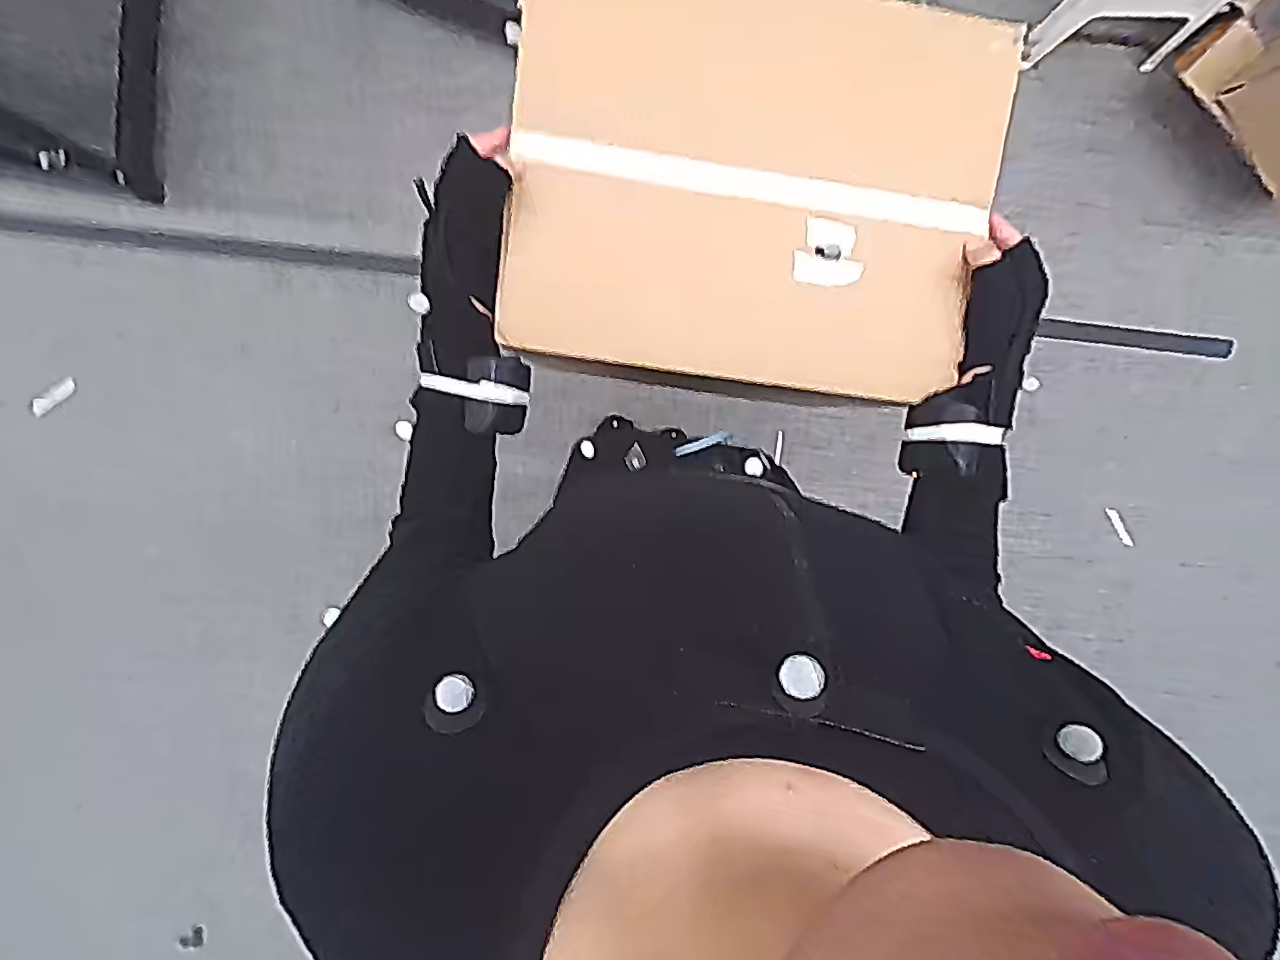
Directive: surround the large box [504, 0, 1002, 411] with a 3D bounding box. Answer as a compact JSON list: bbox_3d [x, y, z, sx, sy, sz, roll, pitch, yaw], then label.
[{"bbox_3d":[0.083,-0.256,0.608,0.408,0.320,0.320,8,98,-6],"label":"large box"}]
